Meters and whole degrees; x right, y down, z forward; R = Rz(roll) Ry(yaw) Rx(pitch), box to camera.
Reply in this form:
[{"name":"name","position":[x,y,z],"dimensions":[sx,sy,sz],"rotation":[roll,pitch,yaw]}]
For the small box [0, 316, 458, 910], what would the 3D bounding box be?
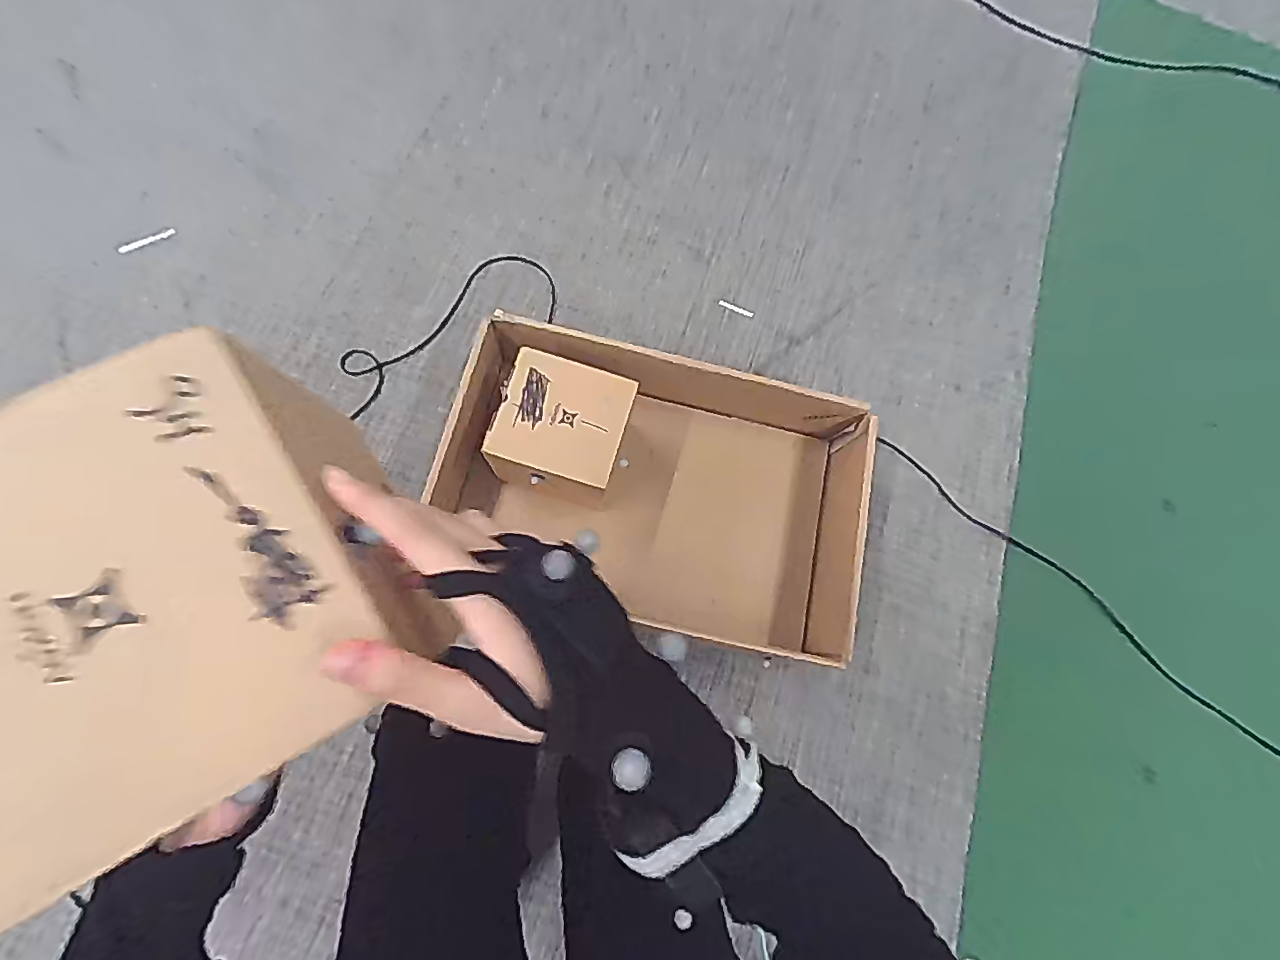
[{"name":"small box","position":[-0.215,0.056,0.269],"dimensions":[0.179,0.176,0.168],"rotation":[-30,89,-13]}]
